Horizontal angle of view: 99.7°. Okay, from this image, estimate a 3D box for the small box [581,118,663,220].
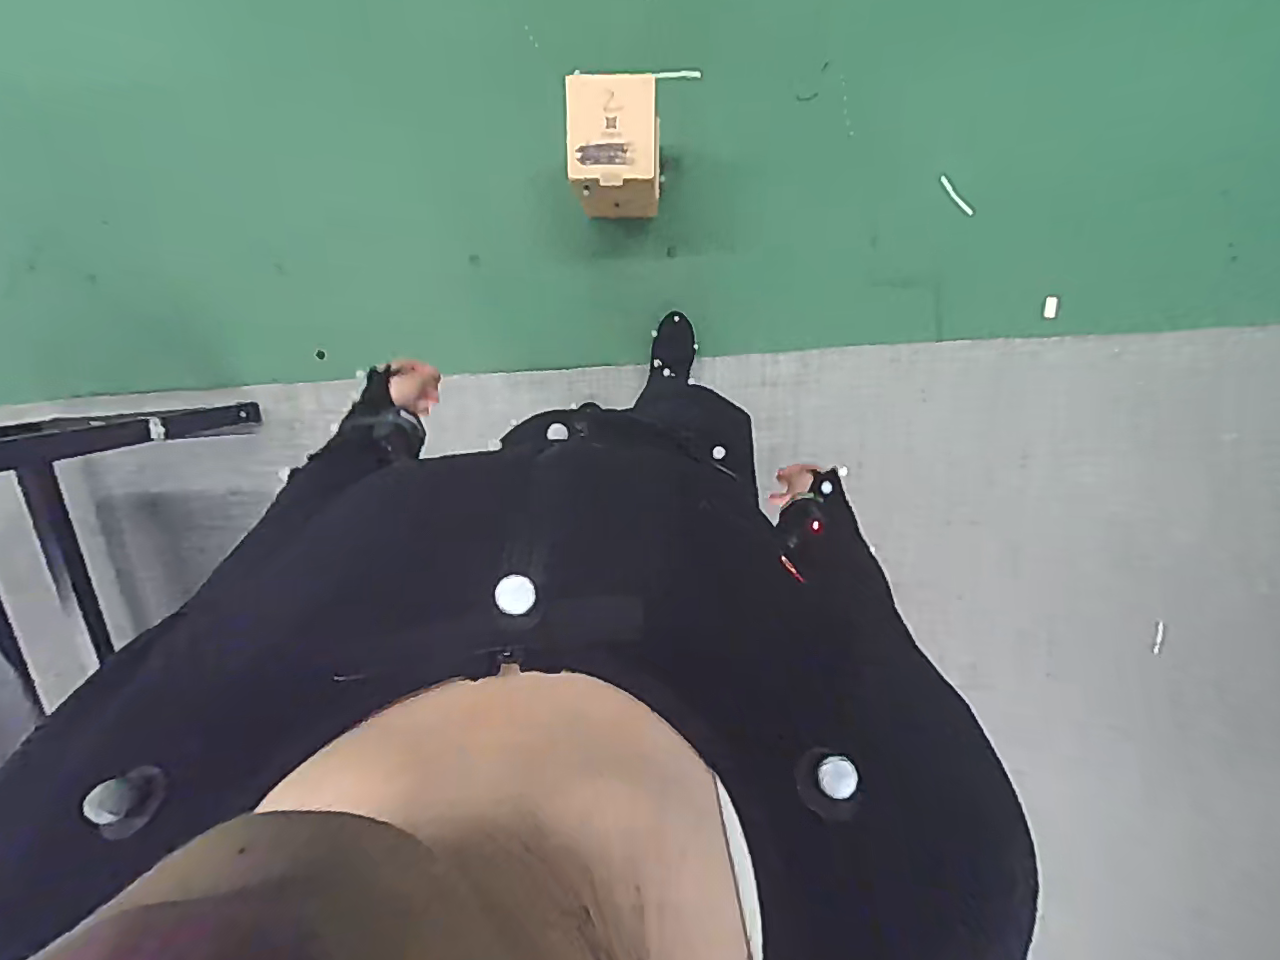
[{"bbox_3d":[-0.039,-0.700,1.230,0.179,0.176,0.168,1,104,1],"label":"small box"}]
